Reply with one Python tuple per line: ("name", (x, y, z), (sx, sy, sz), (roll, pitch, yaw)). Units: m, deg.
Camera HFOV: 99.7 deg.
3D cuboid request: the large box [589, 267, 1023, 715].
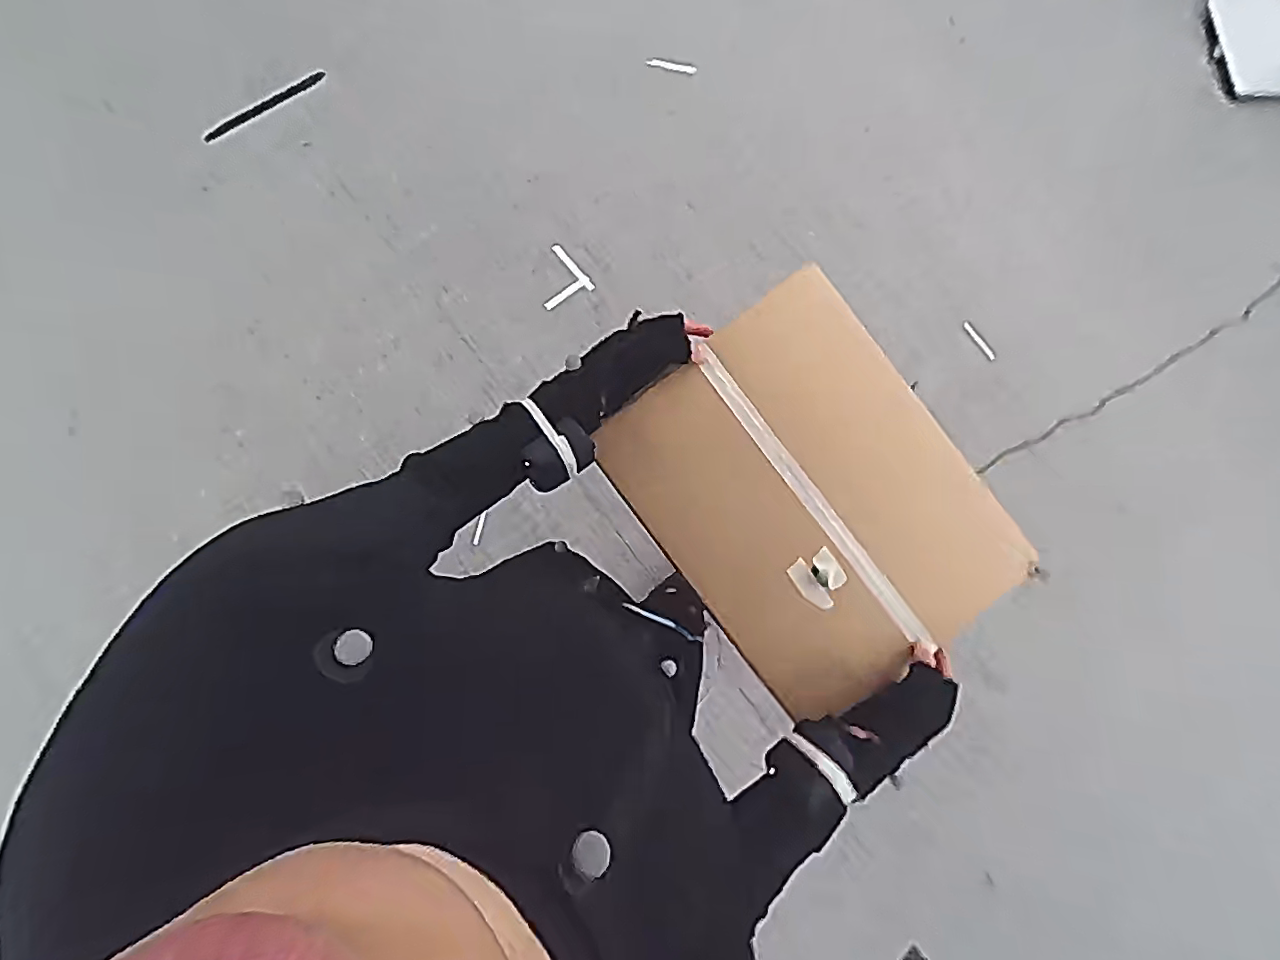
("large box", (0.176, 0.011, 0.735), (0.320, 0.320, 0.408), (-37, 91, -1))
